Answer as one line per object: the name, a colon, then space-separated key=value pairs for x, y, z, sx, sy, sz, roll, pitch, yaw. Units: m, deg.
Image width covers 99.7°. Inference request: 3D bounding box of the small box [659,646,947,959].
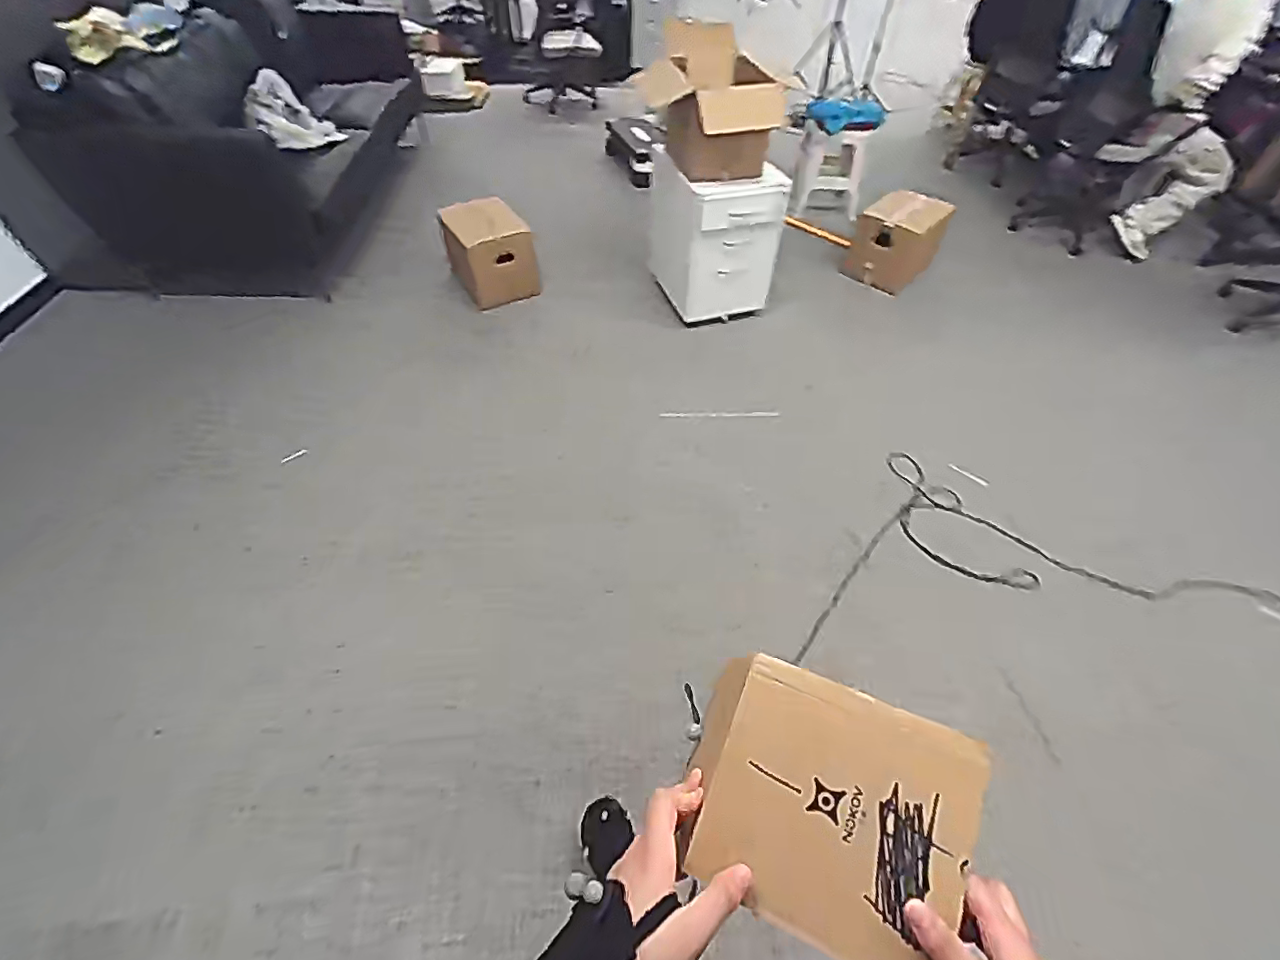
small box: x=0.128 y=0.266 z=0.479 sx=0.179 sy=0.176 sz=0.168 roll=22 pitch=67 yaw=8
